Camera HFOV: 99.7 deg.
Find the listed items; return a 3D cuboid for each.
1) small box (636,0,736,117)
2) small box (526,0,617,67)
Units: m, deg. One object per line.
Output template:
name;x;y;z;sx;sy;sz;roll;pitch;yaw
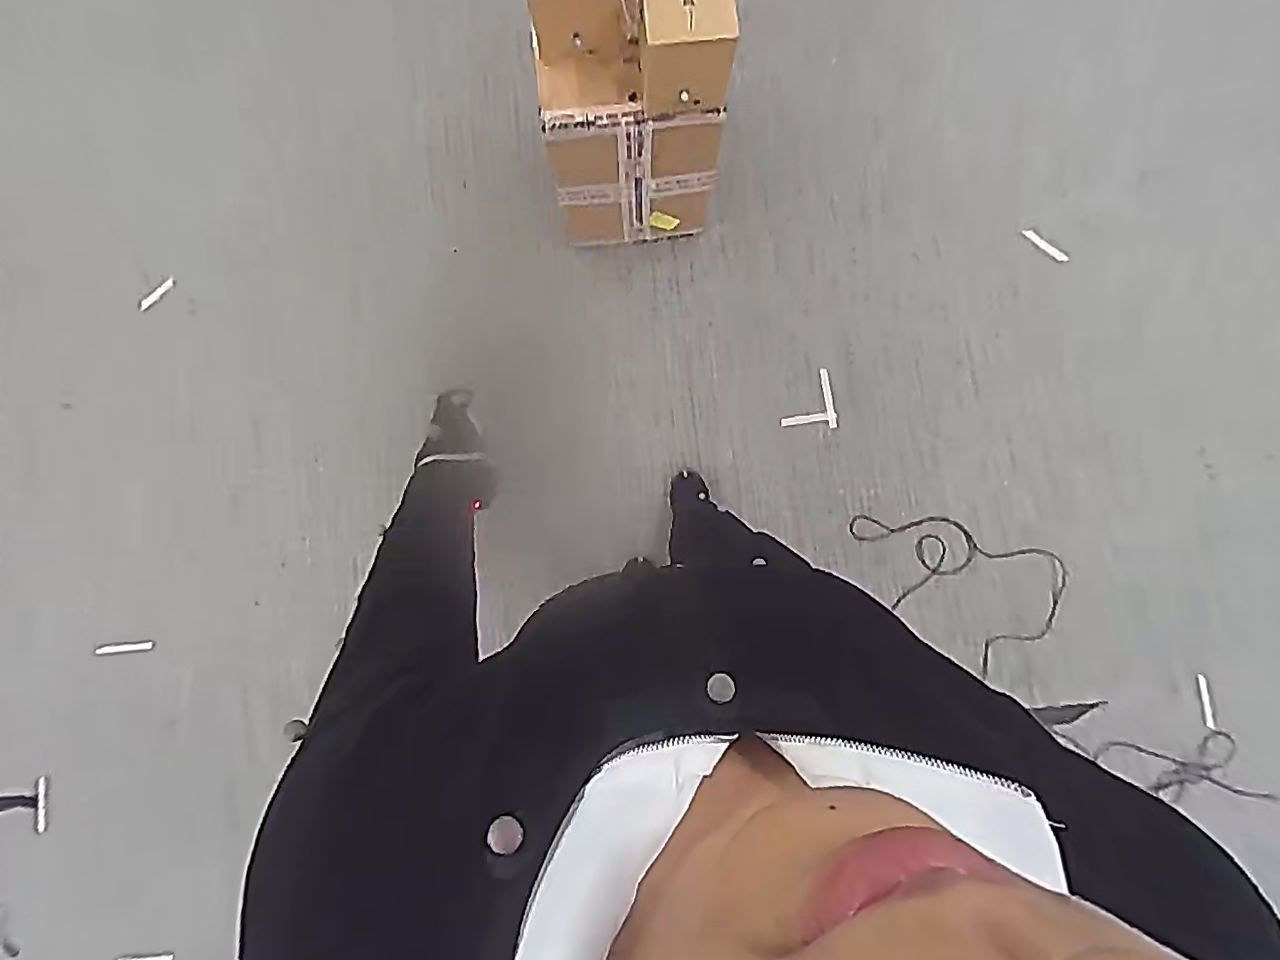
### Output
small box;0.081;-0.849;1.046;0.168;0.176;0.179;-6;86;-1
small box;-0.135;-0.960;1.056;0.168;0.176;0.179;-5;85;1
